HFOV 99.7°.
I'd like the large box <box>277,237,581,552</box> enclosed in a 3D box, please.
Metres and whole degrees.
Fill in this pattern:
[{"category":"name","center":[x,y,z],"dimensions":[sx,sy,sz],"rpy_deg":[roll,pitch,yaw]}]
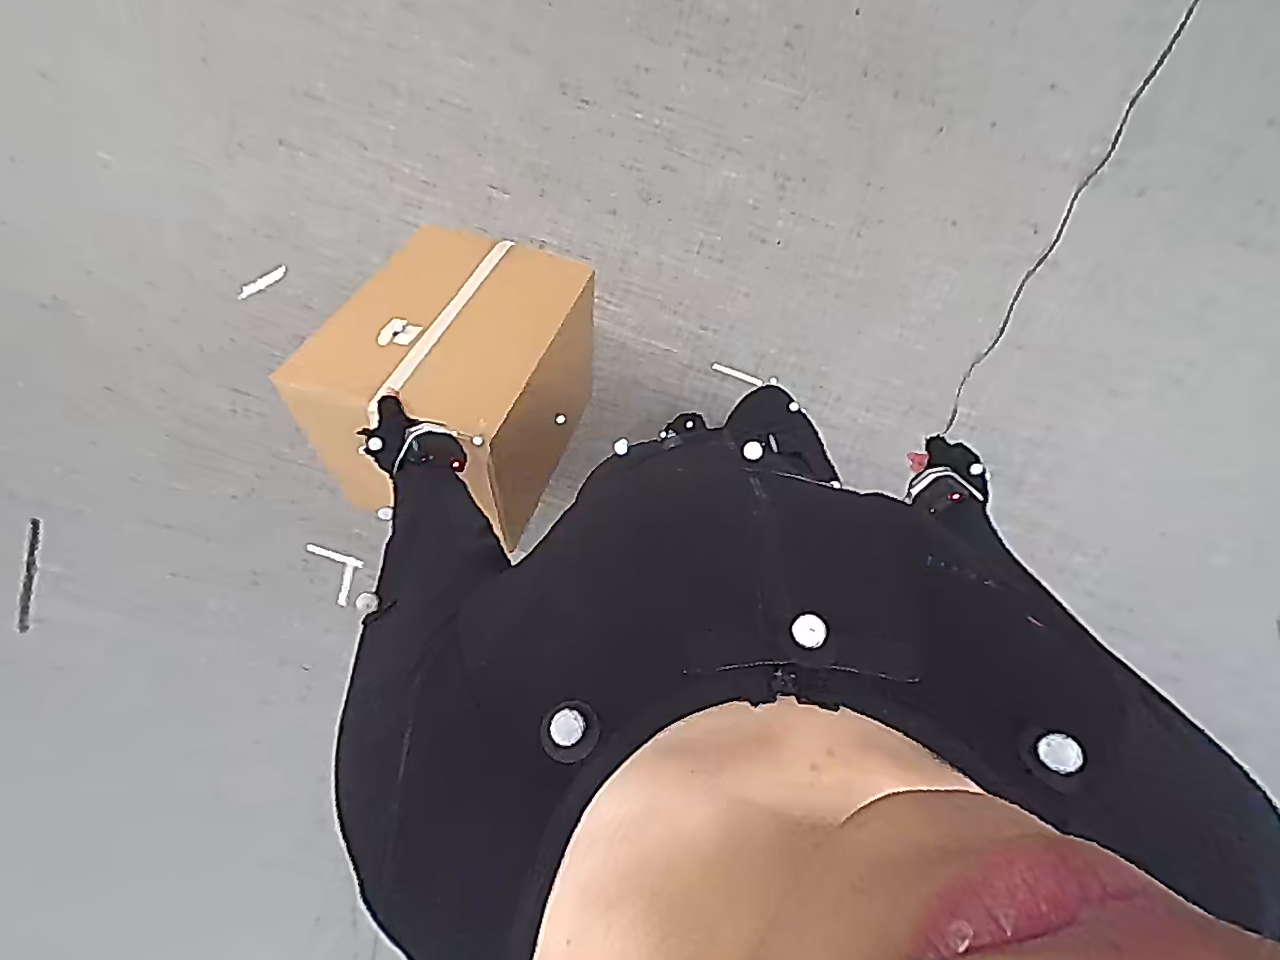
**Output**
[{"category":"large box","center":[-0.308,-0.148,0.948],"dimensions":[0.320,0.320,0.408],"rpy_deg":[16,56,6]}]
